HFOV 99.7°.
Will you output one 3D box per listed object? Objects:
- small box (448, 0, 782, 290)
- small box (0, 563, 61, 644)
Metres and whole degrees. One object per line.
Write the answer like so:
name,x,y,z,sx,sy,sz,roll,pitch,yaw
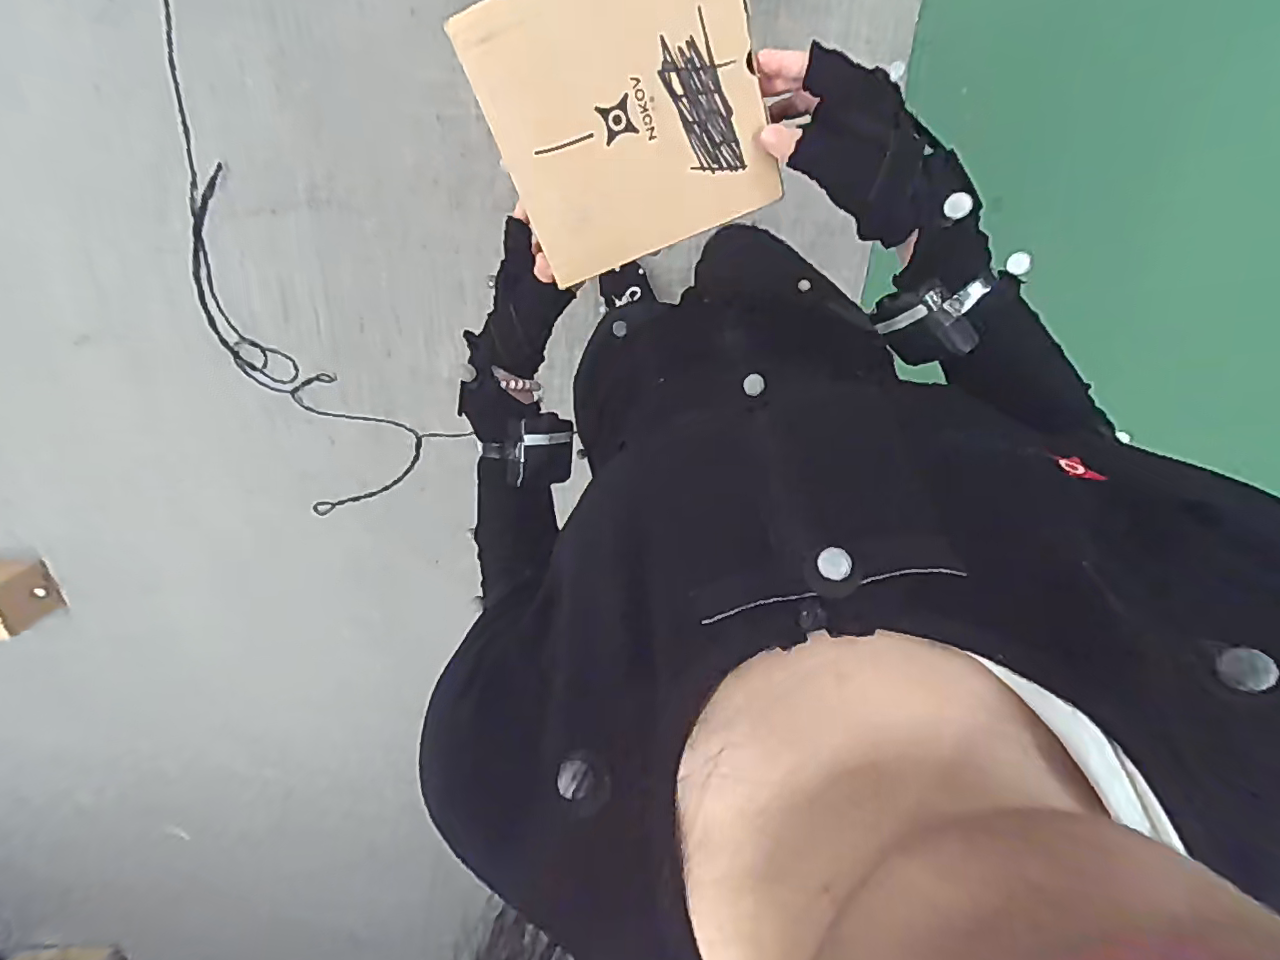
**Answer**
small box,-0.013,-0.270,0.413,0.179,0.176,0.168,-18,120,7
small box,-1.836,0.347,1.536,0.179,0.176,0.168,-1,115,-3
